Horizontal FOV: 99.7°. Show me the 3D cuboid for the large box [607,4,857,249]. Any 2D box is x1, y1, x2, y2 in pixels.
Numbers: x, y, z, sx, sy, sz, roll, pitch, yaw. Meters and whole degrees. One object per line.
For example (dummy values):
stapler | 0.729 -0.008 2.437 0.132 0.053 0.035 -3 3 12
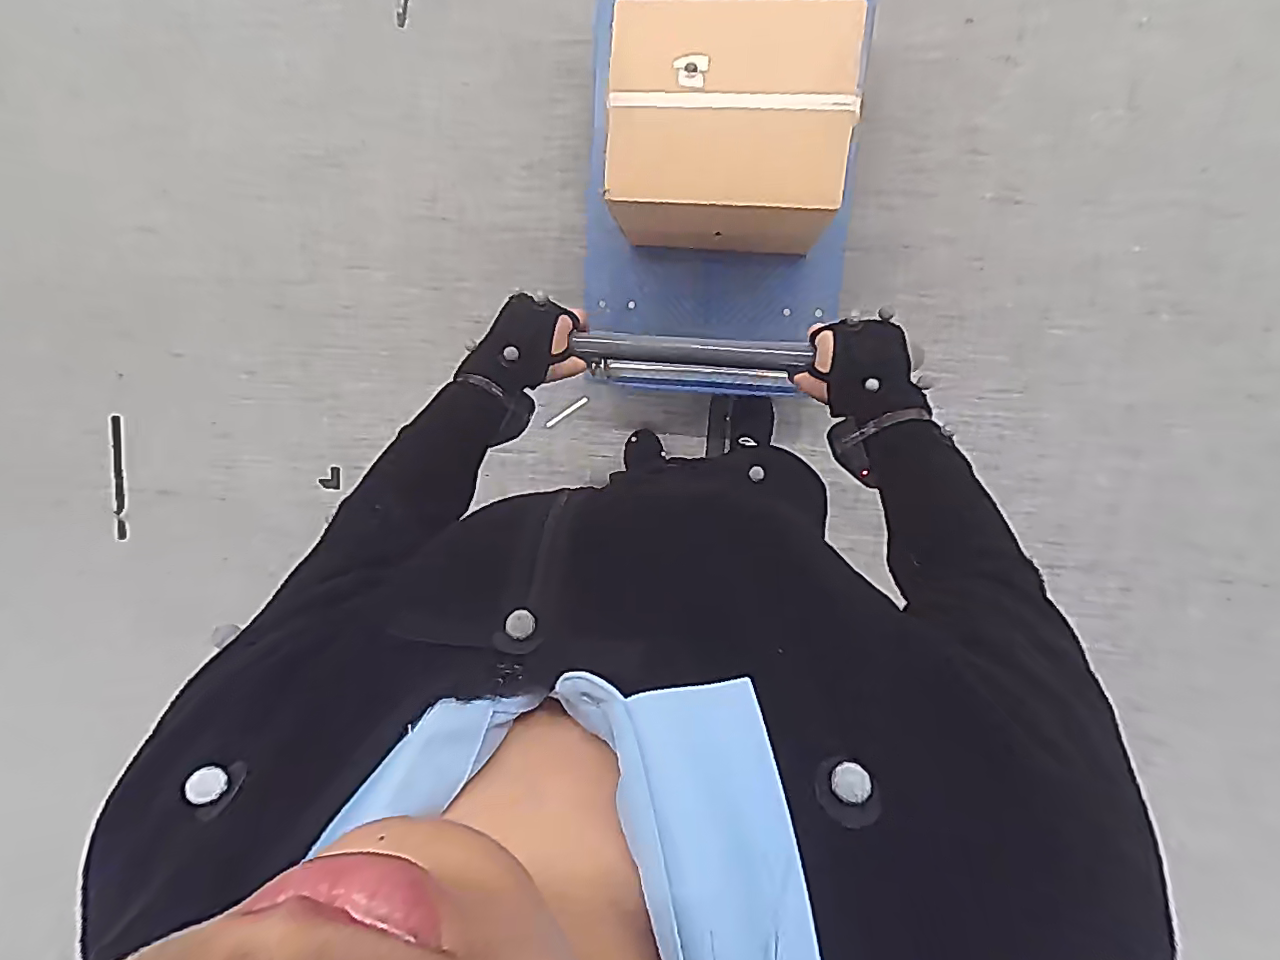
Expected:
large box | 0.167 -0.653 1.061 0.408 0.320 0.320 6 99 7
